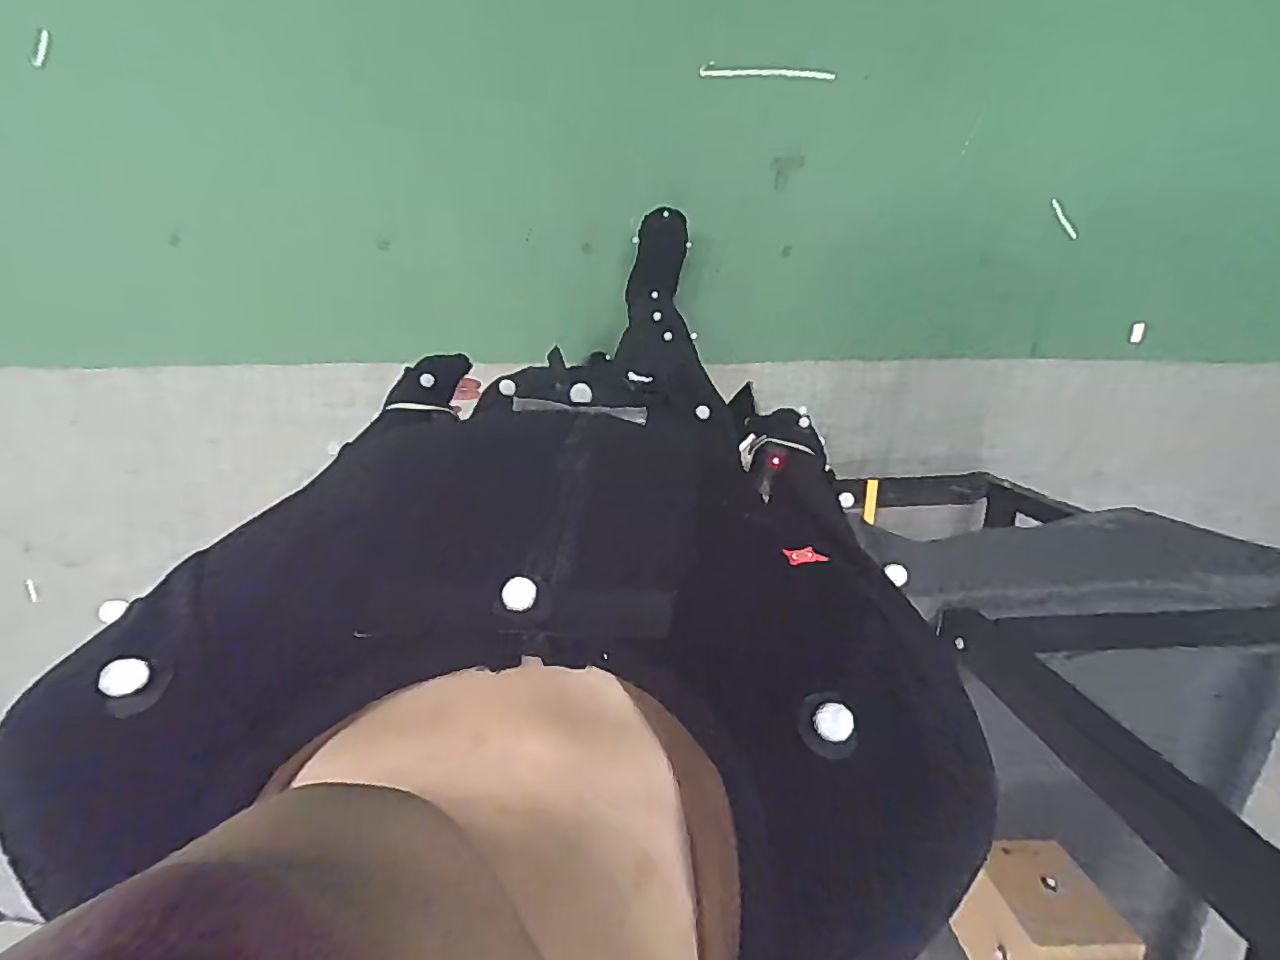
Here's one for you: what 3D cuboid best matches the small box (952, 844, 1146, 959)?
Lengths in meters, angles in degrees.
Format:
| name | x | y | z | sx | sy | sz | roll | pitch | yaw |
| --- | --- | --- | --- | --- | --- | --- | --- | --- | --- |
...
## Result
| name | x | y | z | sx | sy | sz | roll | pitch | yaw |
| --- | --- | --- | --- | --- | --- | --- | --- | --- | --- |
| small box | 0.630 | 0.714 | 0.858 | 0.168 | 0.176 | 0.179 | 1 | 104 | -2 |
